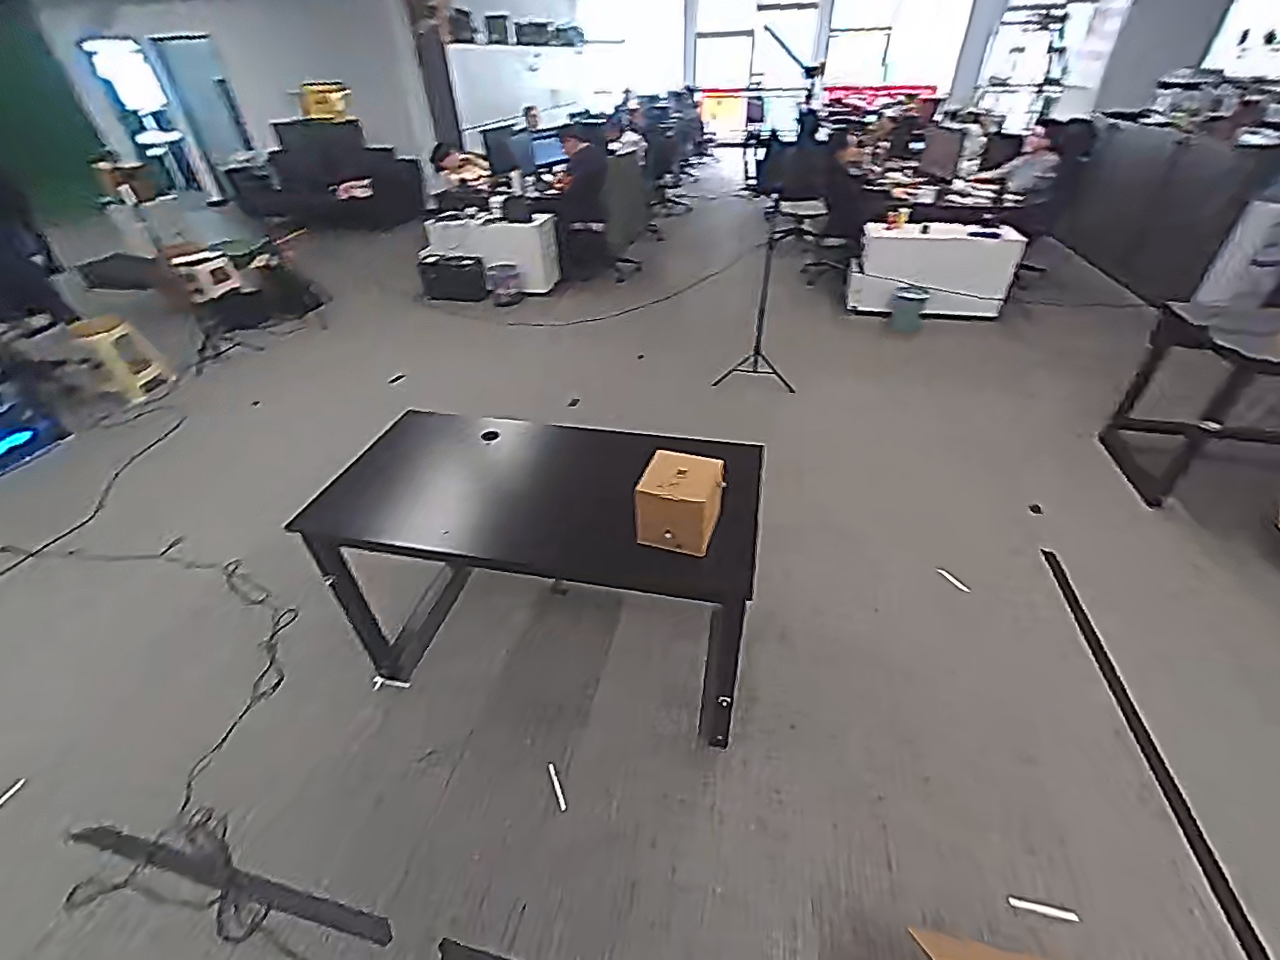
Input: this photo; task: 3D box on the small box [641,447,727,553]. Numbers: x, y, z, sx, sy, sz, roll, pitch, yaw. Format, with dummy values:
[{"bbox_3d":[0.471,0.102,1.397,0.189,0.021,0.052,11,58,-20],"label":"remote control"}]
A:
[{"bbox_3d":[0.108,0.047,1.311,0.168,0.176,0.179,11,40,17],"label":"small box"}]
